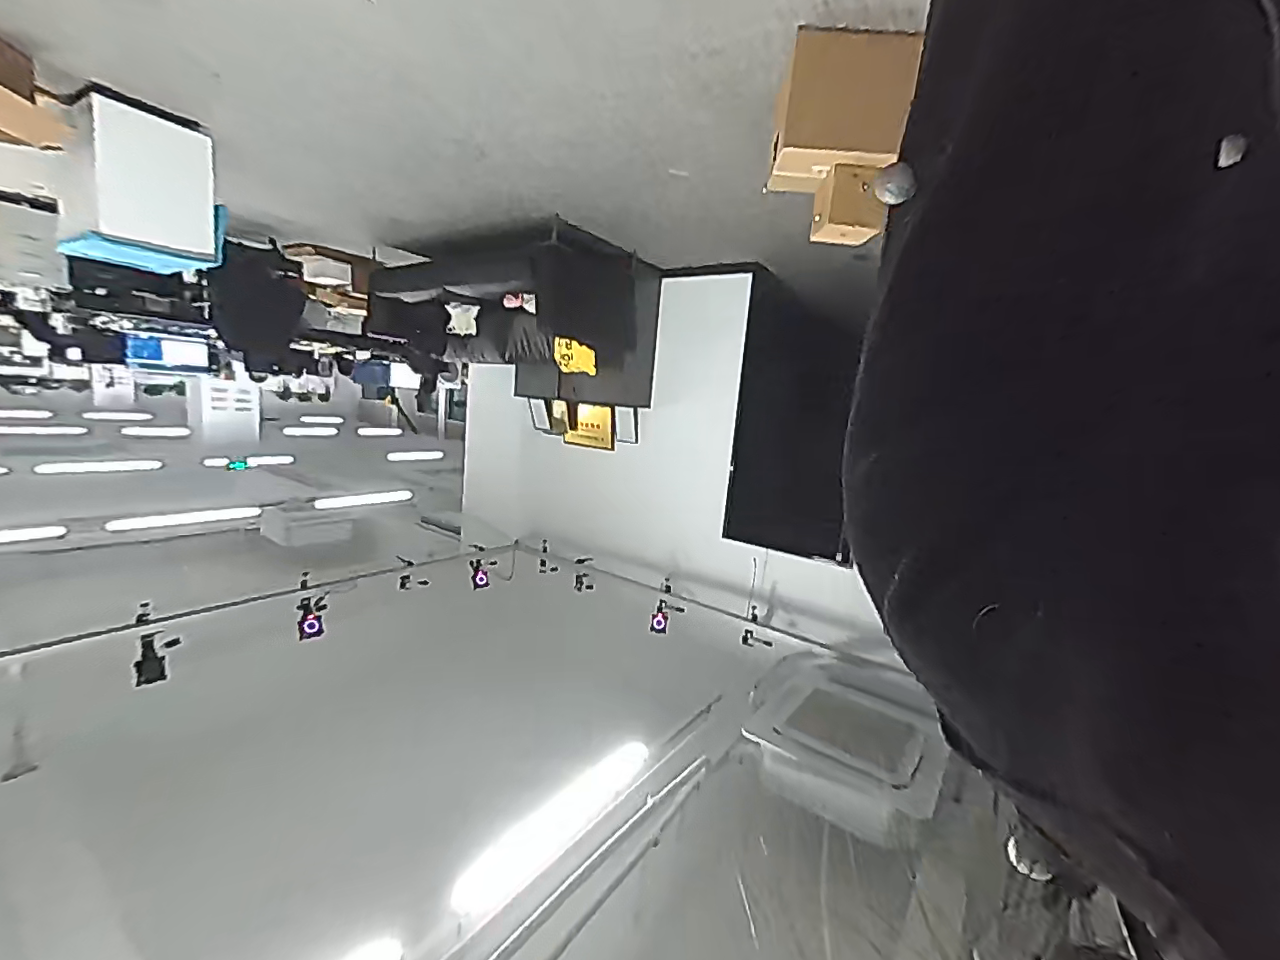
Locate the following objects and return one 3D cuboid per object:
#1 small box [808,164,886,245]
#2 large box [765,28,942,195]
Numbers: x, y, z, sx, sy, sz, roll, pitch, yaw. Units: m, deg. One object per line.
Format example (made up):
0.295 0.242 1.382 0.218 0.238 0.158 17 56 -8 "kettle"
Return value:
0.640 -0.849 1.675 0.168 0.176 0.179 6 -171 0 "small box"
0.618 -1.091 1.633 0.408 0.320 0.320 7 -172 4 "large box"
